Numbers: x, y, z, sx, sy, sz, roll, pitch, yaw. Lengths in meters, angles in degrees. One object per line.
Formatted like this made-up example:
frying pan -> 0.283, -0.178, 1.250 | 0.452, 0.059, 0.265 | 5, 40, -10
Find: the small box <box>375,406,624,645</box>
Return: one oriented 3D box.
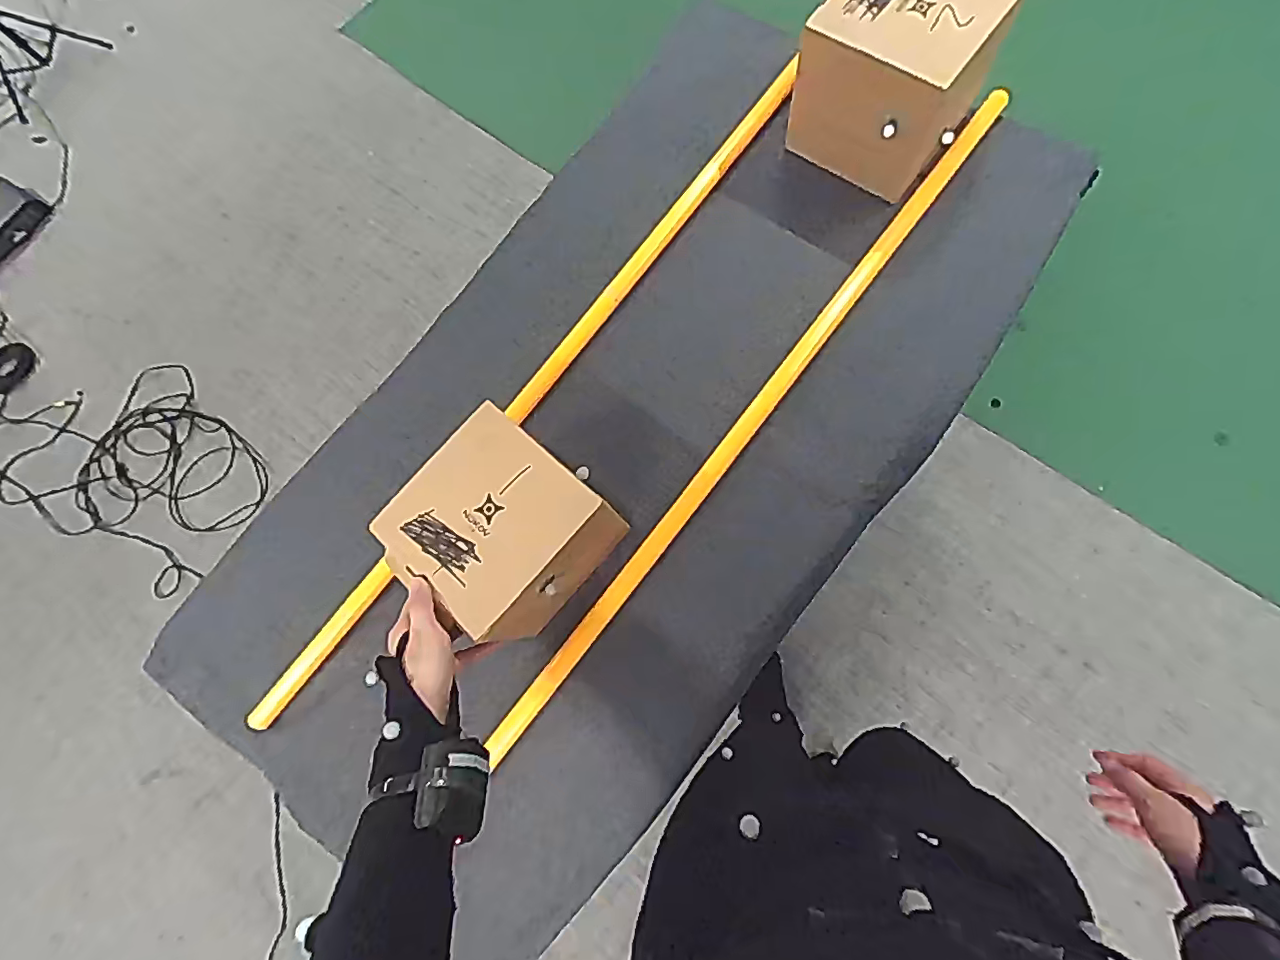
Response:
small box -> -0.136, 0.057, 0.594 | 0.168, 0.176, 0.179 | 40, 84, 14
